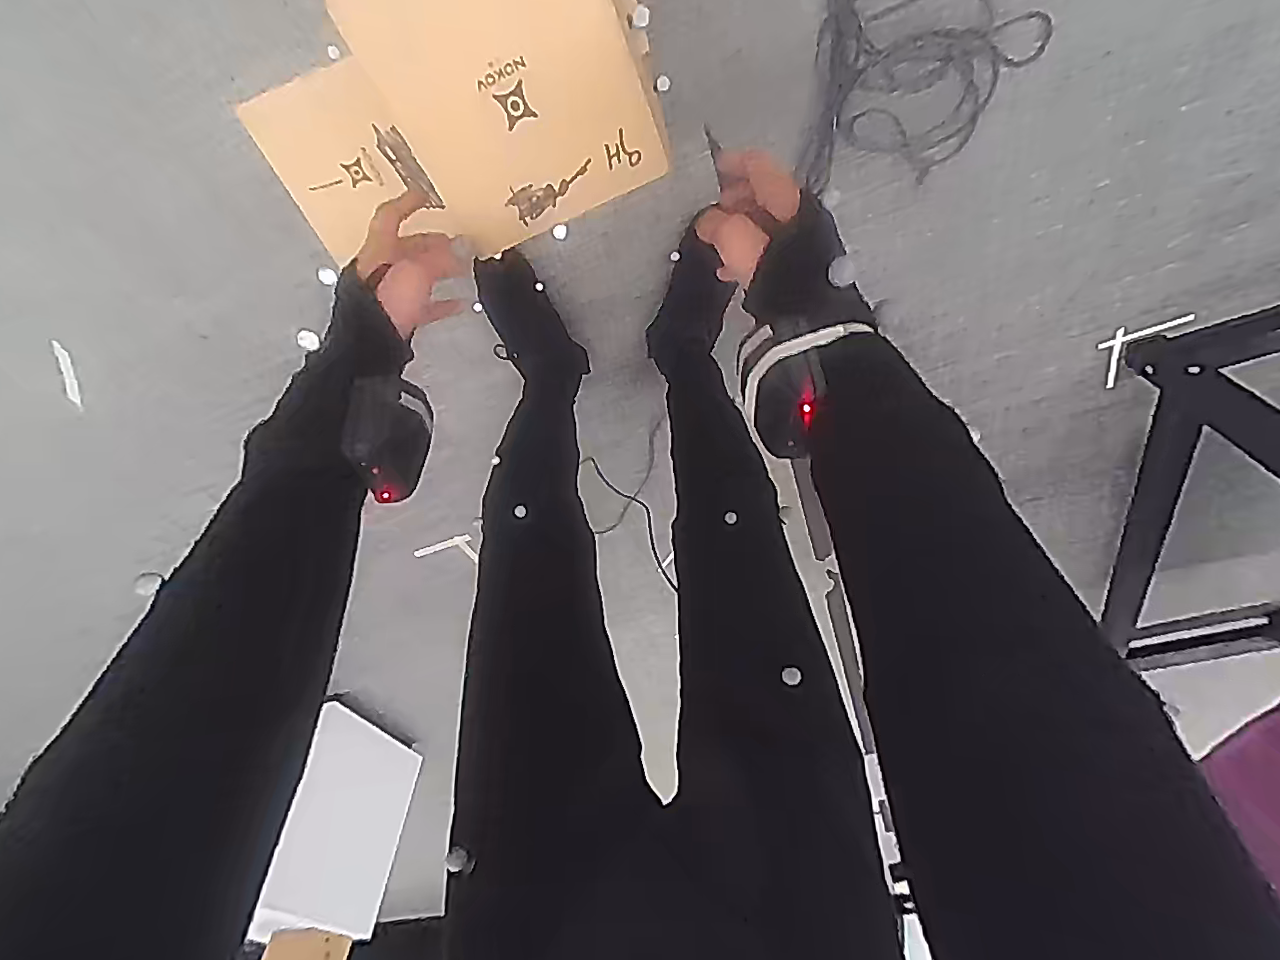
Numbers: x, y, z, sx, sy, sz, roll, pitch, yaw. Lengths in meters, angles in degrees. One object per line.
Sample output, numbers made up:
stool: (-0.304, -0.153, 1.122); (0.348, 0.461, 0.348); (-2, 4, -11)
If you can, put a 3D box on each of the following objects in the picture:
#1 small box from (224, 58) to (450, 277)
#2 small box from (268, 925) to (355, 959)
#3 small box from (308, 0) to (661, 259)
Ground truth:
small box: (-0.276, -0.352, 0.586); (0.179, 0.176, 0.168); (-12, 130, 13)
small box: (-1.017, 1.482, 1.648); (0.179, 0.176, 0.168); (-16, 129, 15)
small box: (-0.091, -0.303, 0.406); (0.168, 0.176, 0.179); (-17, 128, 16)
